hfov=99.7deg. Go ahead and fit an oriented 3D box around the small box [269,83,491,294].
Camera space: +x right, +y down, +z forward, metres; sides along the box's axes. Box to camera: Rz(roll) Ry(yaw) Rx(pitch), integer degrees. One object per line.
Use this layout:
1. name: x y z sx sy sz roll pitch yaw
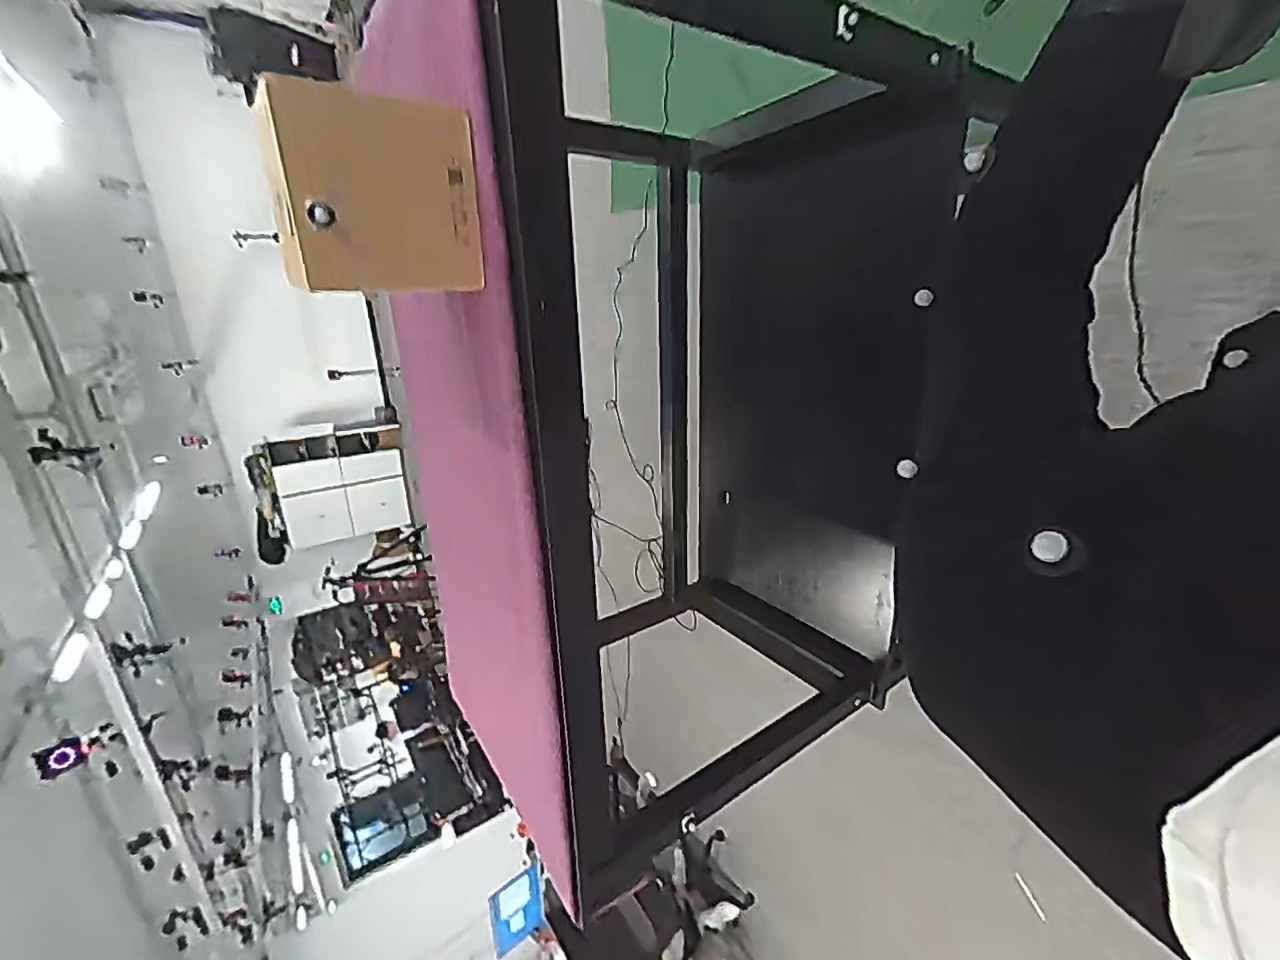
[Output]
1. small box: -0.270 -0.289 0.571 0.179 0.176 0.168 29 126 50
